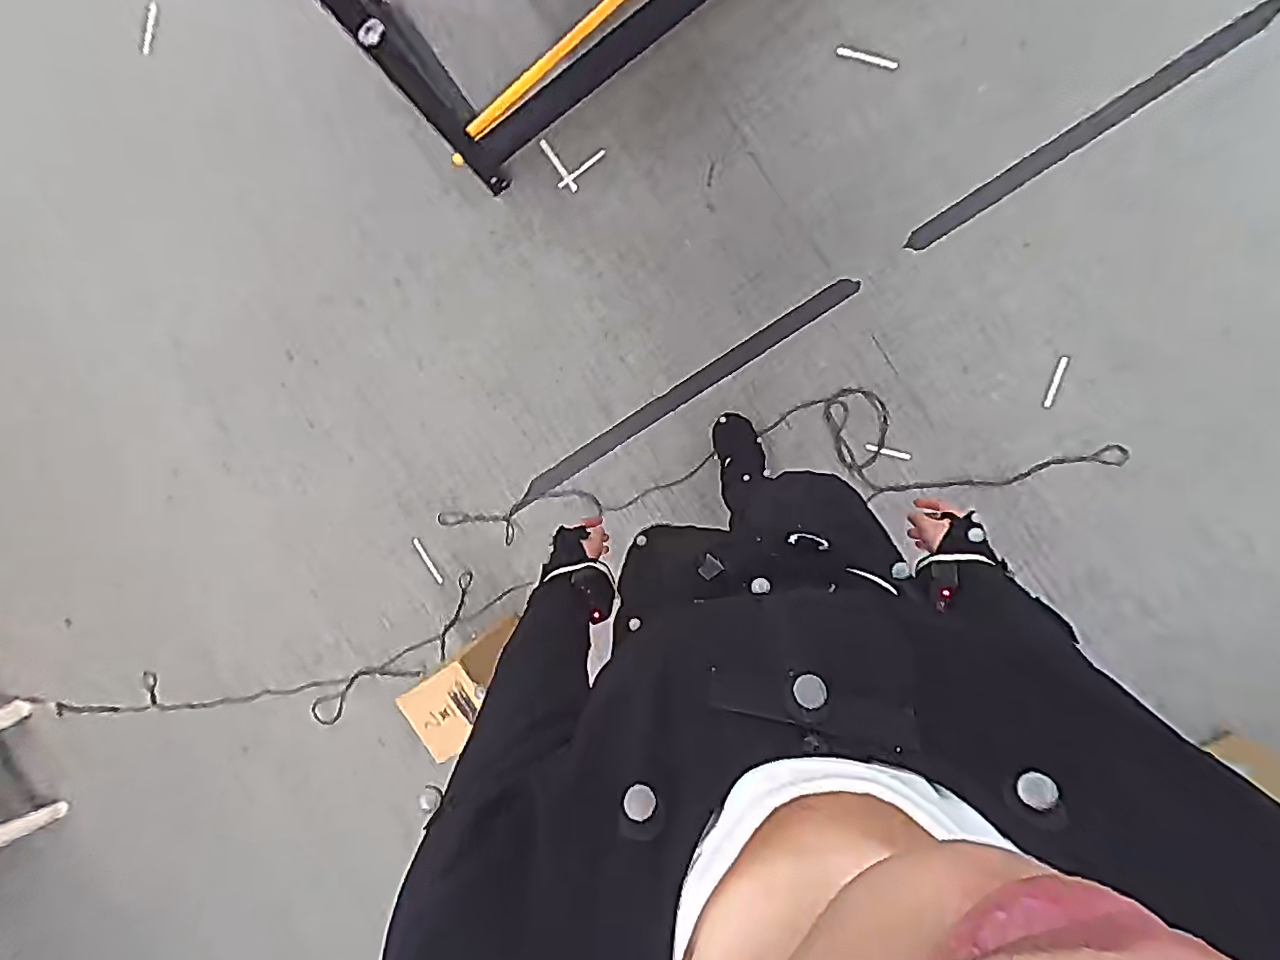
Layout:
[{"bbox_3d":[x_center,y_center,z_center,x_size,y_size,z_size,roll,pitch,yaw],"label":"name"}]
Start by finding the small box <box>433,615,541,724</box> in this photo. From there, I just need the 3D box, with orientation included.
[{"bbox_3d":[-0.380,0.473,1.374,0.179,0.176,0.168,-35,90,7],"label":"small box"}]
